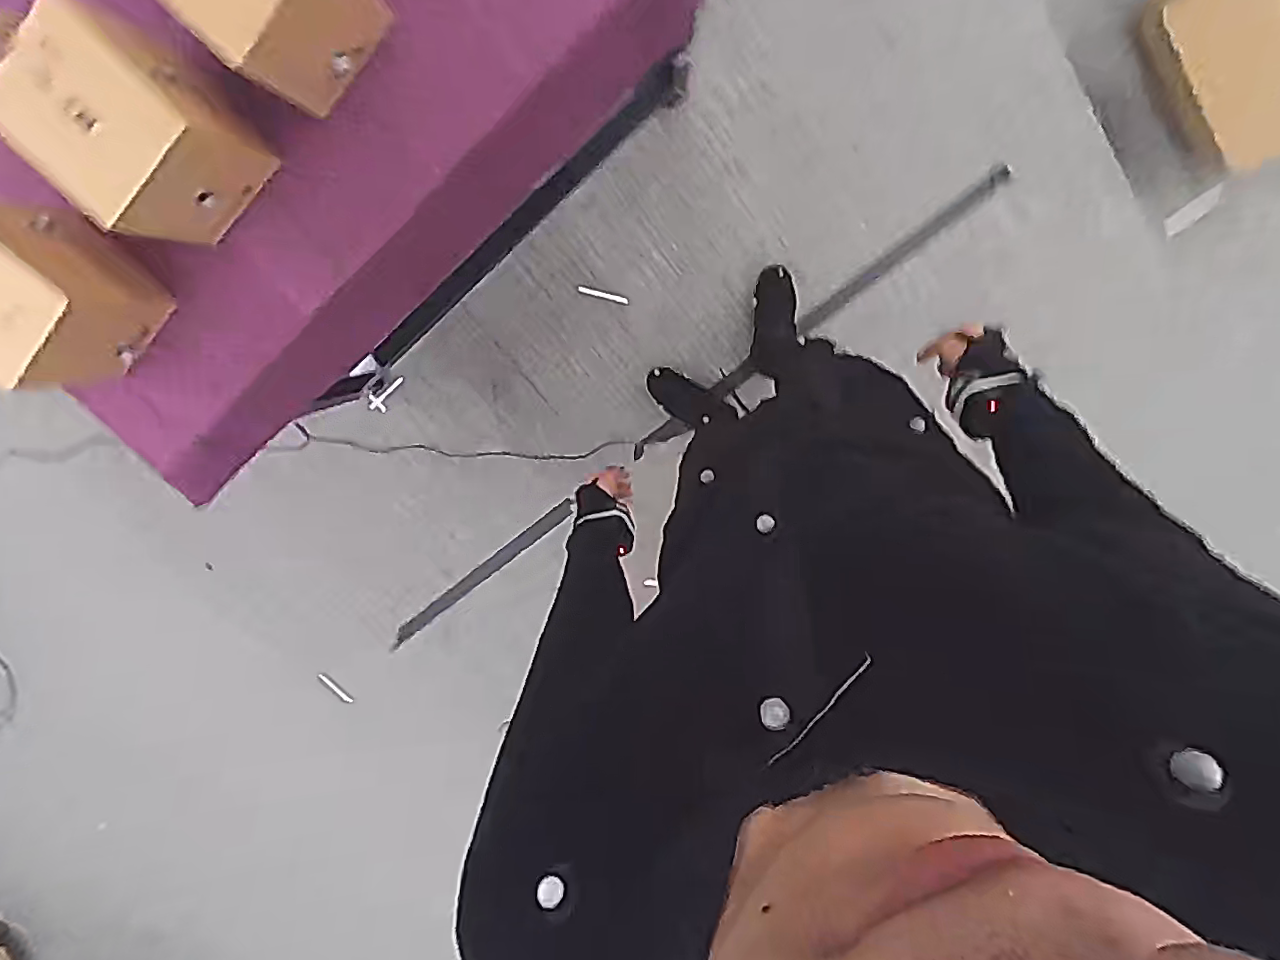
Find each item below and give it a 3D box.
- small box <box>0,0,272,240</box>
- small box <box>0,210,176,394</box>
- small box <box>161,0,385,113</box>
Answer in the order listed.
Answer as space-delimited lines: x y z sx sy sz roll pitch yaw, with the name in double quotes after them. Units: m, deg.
-0.625 -0.428 0.683 0.168 0.176 0.179 -41 102 12 "small box"
-0.818 -0.243 0.746 0.168 0.176 0.179 -43 102 13 "small box"
-0.445 -0.582 0.632 0.179 0.176 0.168 43 104 -12 "small box"
